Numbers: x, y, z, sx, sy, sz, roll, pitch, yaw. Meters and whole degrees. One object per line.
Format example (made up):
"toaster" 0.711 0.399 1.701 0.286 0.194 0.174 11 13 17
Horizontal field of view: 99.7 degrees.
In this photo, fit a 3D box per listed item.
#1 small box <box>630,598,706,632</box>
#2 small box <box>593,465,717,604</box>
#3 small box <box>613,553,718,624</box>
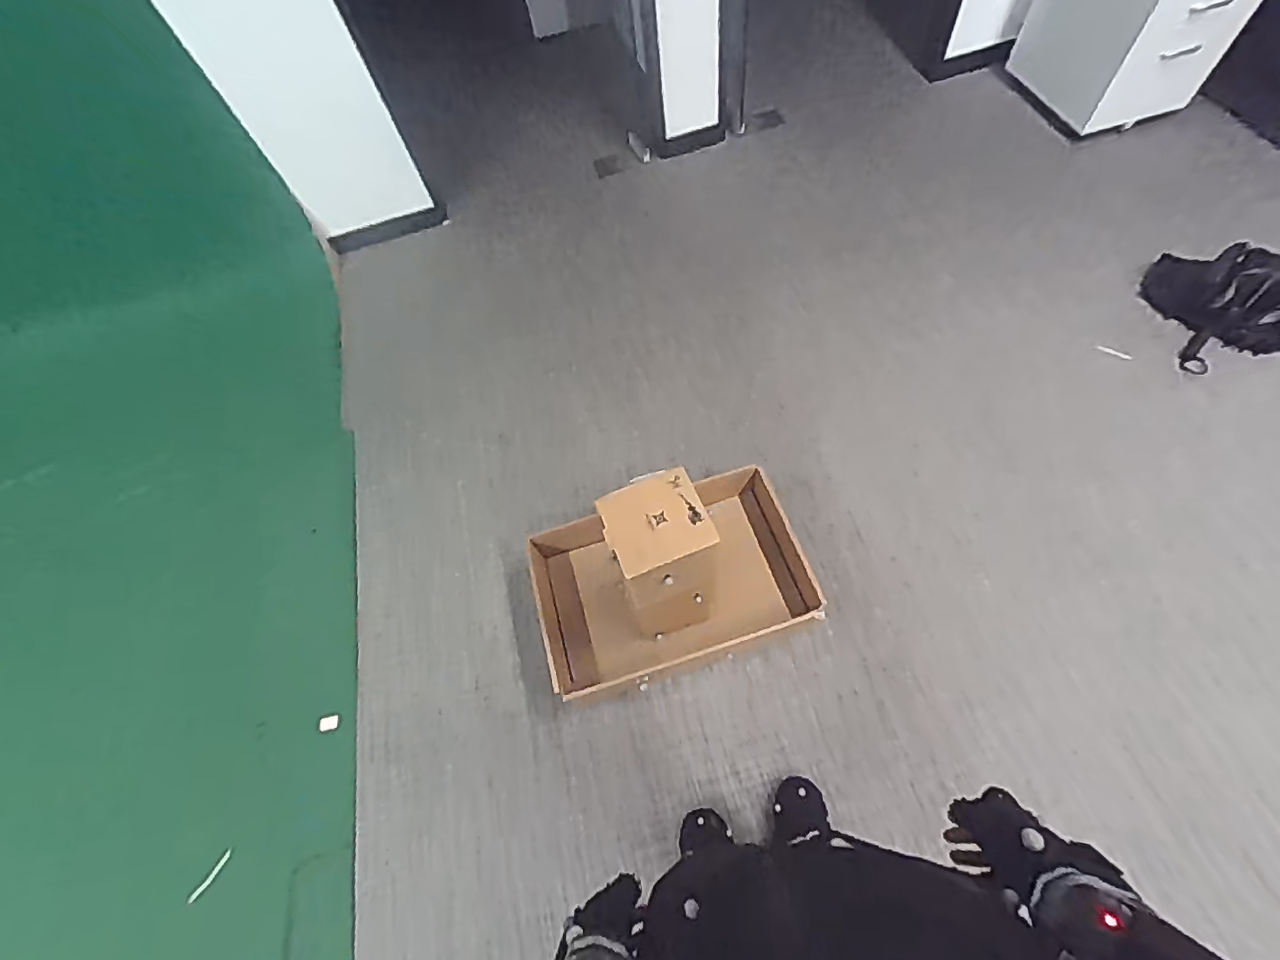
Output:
"small box" 0.057 0.253 1.299 0.168 0.176 0.179 -18 61 -3
"small box" 0.034 0.109 1.010 0.179 0.176 0.168 -24 59 -7
"small box" 0.048 0.180 1.136 0.179 0.176 0.168 -23 61 -6
